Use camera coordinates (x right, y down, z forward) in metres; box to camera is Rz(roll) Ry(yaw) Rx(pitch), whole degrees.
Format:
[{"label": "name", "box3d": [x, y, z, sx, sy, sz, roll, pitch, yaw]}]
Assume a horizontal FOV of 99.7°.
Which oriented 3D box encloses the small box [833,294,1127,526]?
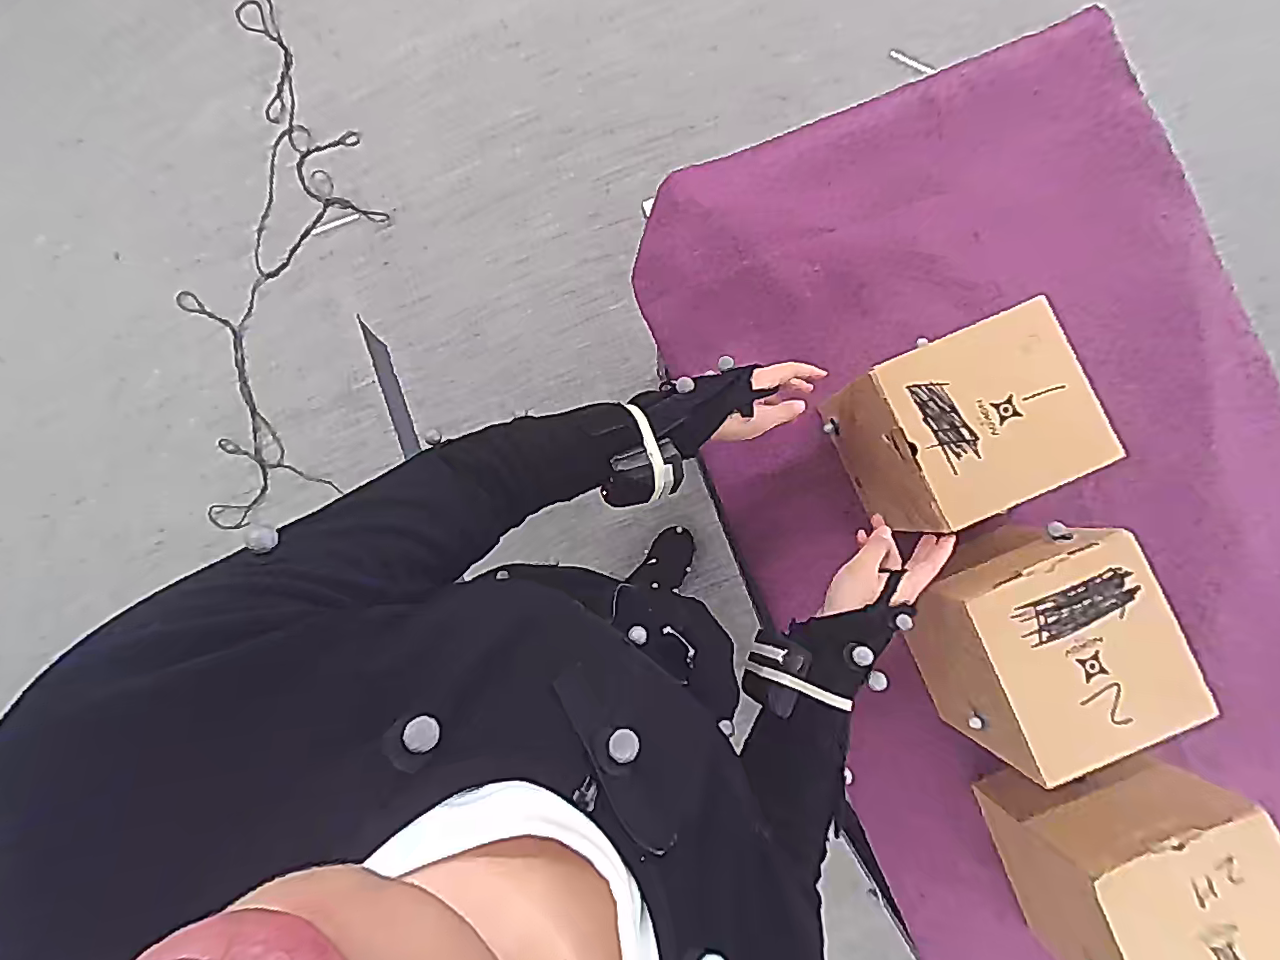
[{"label": "small box", "box3d": [0.325, -0.057, 0.565, 0.179, 0.176, 0.168, -23, 86, -1]}]
